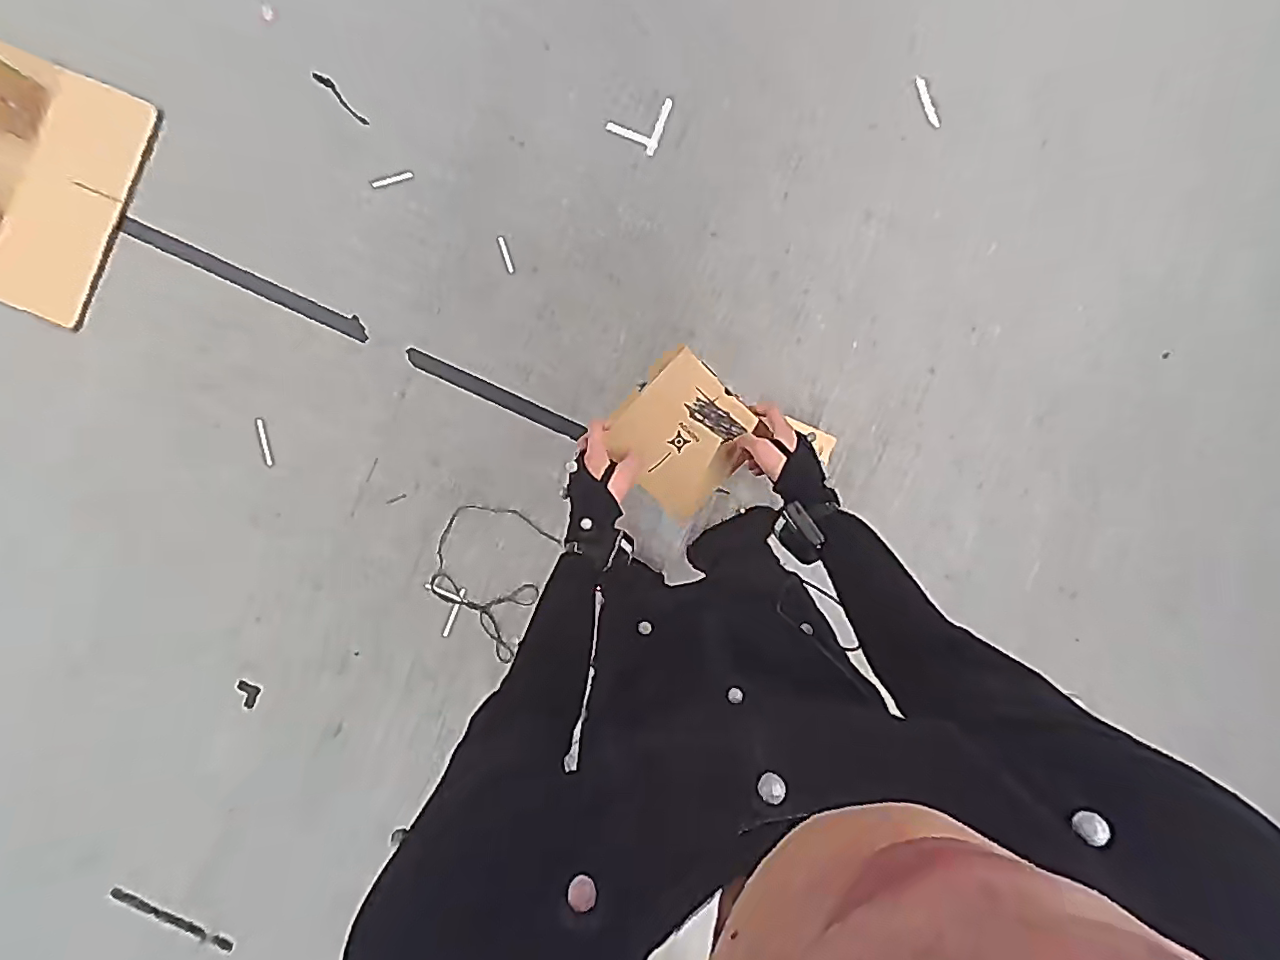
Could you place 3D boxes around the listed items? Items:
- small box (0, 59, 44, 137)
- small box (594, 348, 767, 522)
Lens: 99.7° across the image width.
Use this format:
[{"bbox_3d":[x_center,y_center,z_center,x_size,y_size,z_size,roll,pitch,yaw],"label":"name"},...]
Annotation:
[{"bbox_3d":[-1.827,-1.085,1.482,0.179,0.176,0.168,19,91,0],"label":"small box"},{"bbox_3d":[0.051,-0.073,0.790,0.168,0.176,0.179,41,99,-9],"label":"small box"}]
